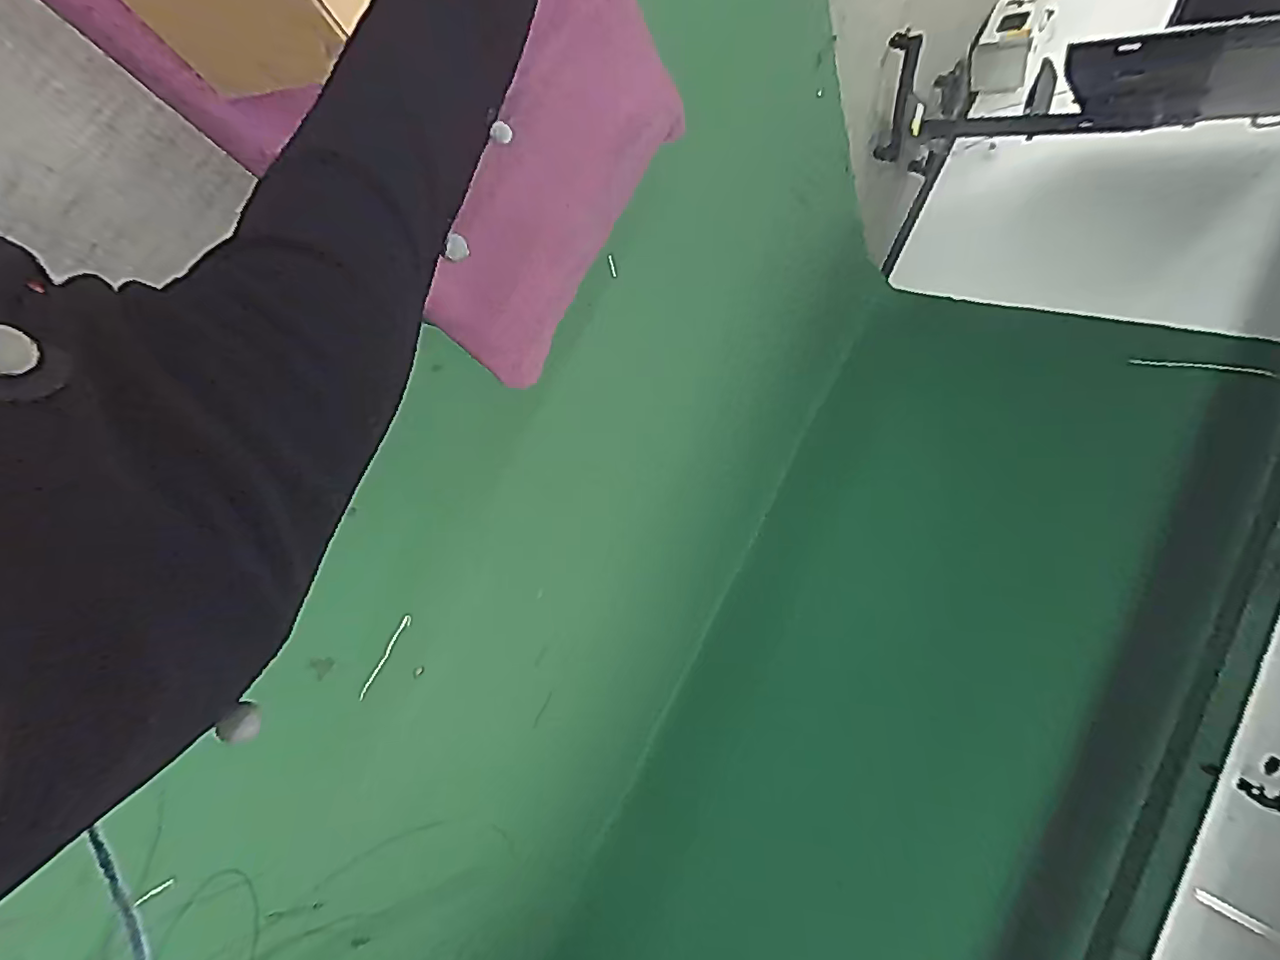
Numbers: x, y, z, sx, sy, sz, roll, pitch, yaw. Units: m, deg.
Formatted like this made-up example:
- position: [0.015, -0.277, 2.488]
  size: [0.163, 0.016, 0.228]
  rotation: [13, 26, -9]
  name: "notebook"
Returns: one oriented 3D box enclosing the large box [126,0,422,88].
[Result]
- position: [-0.291, -0.587, 0.399]
  size: [0.408, 0.320, 0.320]
  rotation: [-60, 145, -10]
  name: "large box"
